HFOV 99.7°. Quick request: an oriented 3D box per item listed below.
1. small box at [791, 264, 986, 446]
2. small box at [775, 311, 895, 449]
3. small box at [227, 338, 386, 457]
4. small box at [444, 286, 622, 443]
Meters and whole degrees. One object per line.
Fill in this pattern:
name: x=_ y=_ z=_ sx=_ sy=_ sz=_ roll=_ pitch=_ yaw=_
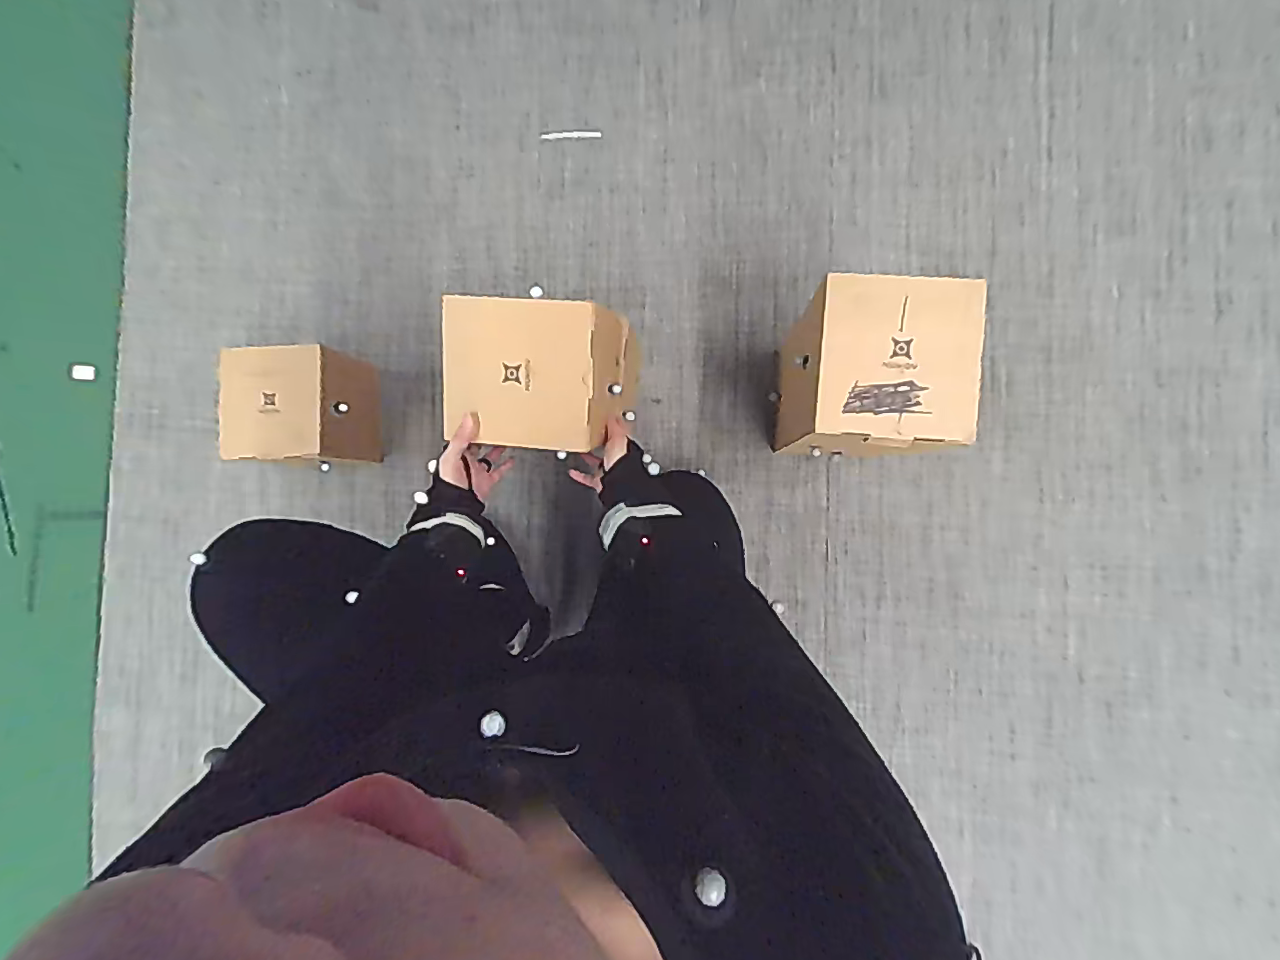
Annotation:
small box: x=0.281 y=-0.137 z=0.650 sx=0.168 sy=0.176 sz=0.179 roll=5 pitch=89 yaw=6
small box: x=0.301 y=-0.141 z=0.814 sx=0.168 sy=0.176 sz=0.179 roll=4 pitch=91 yaw=6
small box: x=-0.550 y=-0.129 z=0.911 sx=0.168 sy=0.176 sz=0.179 roll=0 pitch=88 yaw=6
small box: x=-0.126 y=-0.144 z=0.685 sx=0.179 sy=0.176 sz=0.168 roll=5 pitch=102 yaw=7
